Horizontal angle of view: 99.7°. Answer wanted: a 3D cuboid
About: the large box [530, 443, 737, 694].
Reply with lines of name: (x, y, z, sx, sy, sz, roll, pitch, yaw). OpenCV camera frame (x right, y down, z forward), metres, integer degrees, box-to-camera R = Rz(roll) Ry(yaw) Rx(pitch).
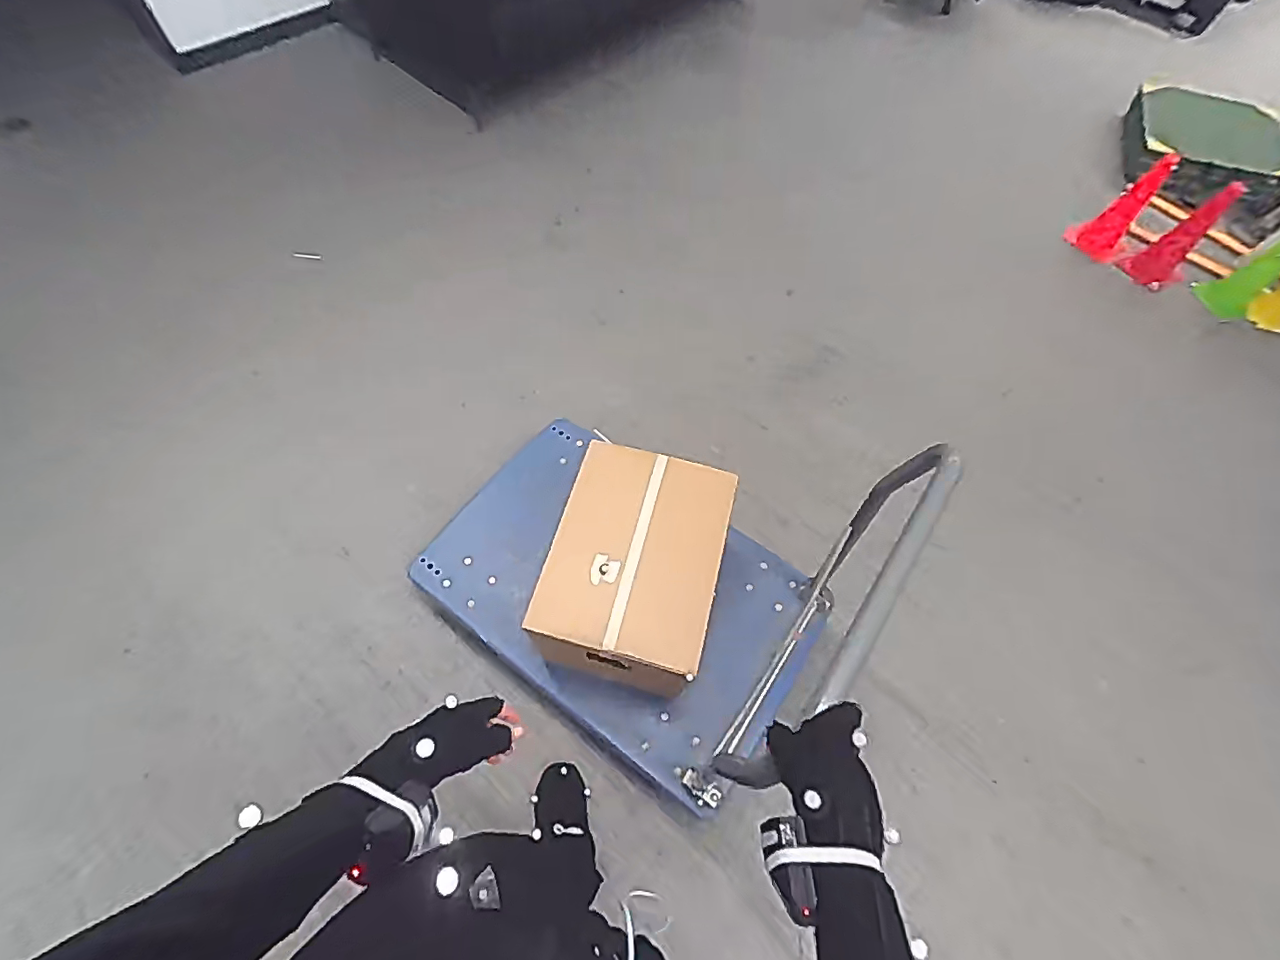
large box: (-0.005, 0.193, 1.145, 0.320, 0.320, 0.408, 14, 63, 6)
